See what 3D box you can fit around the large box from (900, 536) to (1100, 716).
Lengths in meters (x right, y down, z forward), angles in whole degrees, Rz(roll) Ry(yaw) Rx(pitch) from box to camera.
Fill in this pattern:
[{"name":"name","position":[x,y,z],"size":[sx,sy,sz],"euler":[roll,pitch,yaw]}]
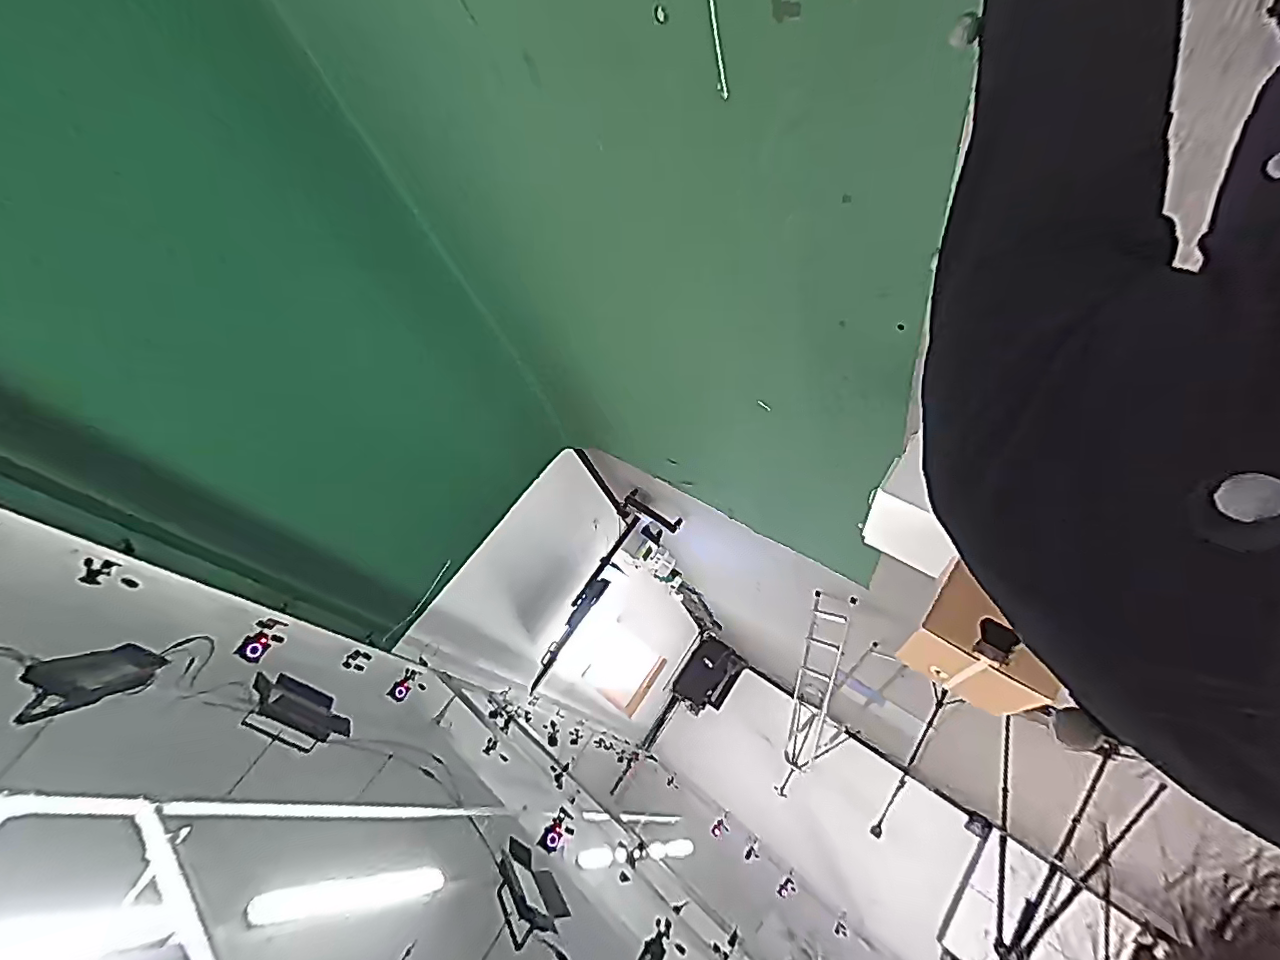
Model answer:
[{"name":"large box","position":[0.980,0.415,1.518],"size":[0.320,0.320,0.408],"euler":[30,163,27]}]
